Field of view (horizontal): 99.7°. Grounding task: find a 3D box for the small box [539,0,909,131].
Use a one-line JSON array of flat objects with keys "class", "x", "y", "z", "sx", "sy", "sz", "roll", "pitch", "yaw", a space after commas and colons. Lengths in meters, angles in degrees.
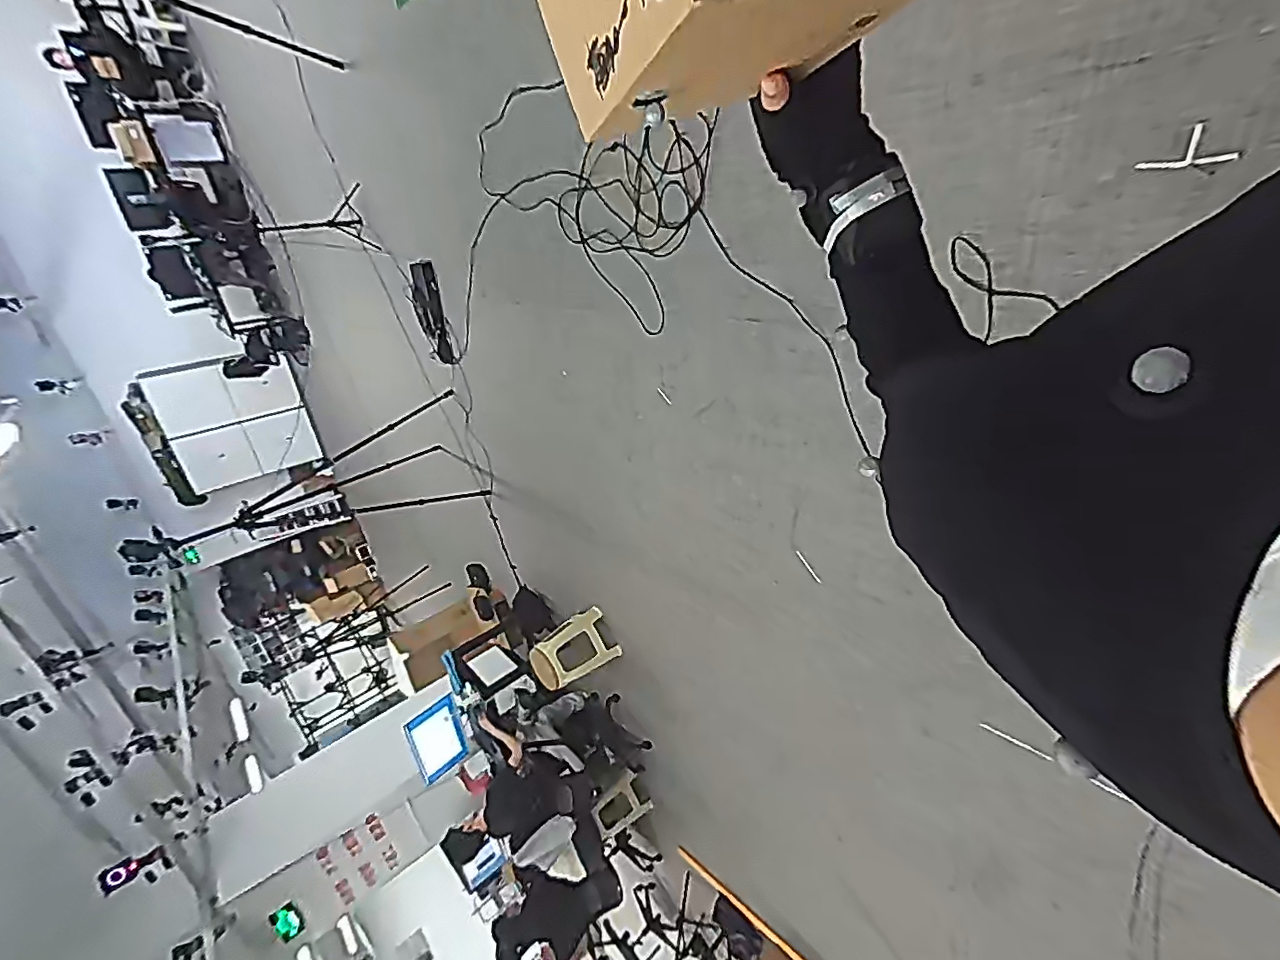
[{"class": "small box", "x": 0.039, "y": -0.320, "z": 0.279, "sx": 0.168, "sy": 0.176, "sz": 0.179, "roll": 33, "pitch": 144, "yaw": 65}]
